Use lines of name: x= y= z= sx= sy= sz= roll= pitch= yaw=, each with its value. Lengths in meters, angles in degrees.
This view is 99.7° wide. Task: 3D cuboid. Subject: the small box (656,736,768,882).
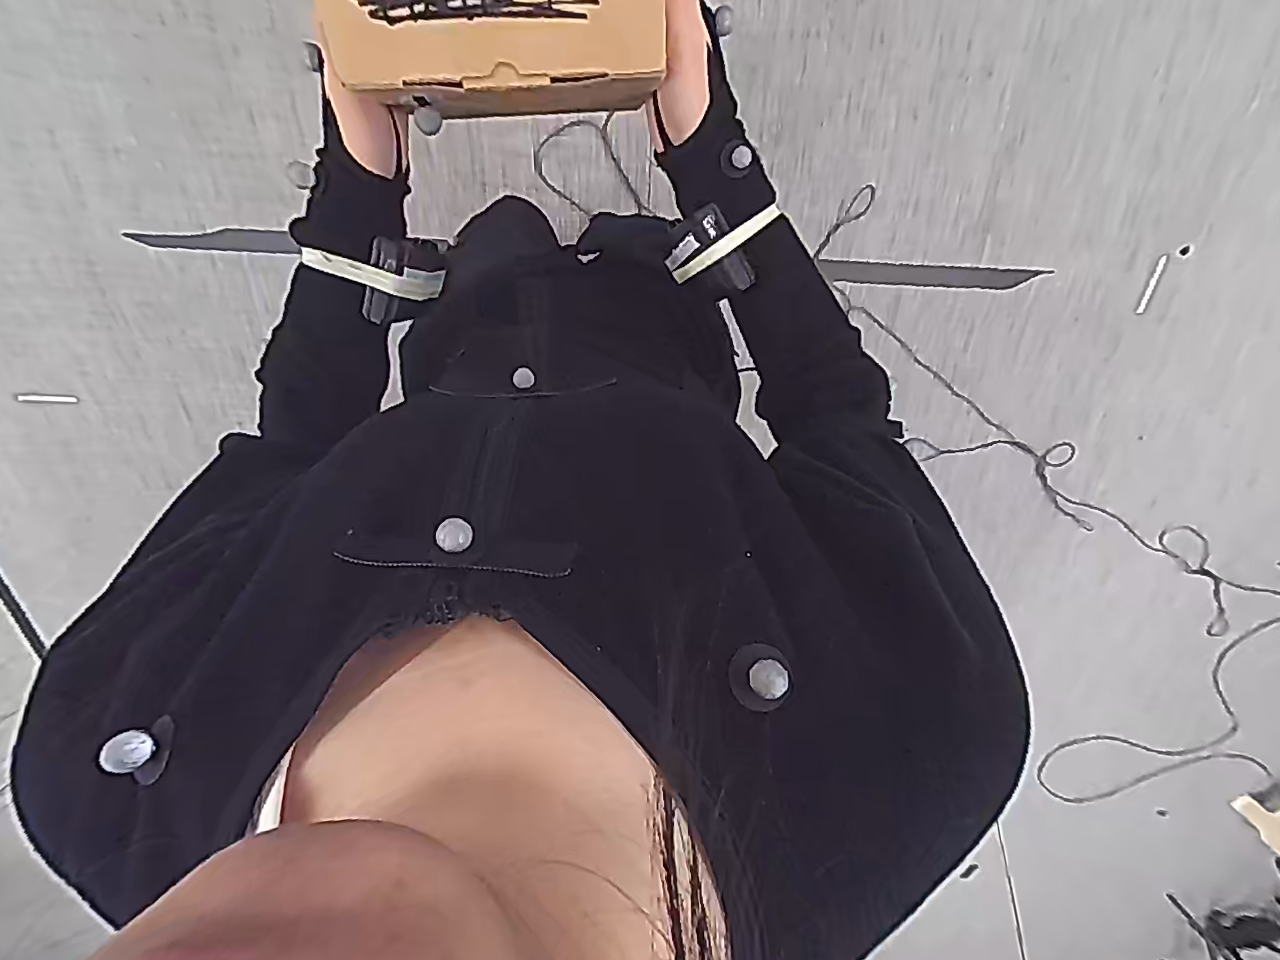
small box: x=0.117 y=0.582 z=0.966 sx=0.179 sy=0.176 sz=0.168 roll=-1 pitch=119 yaw=-1
